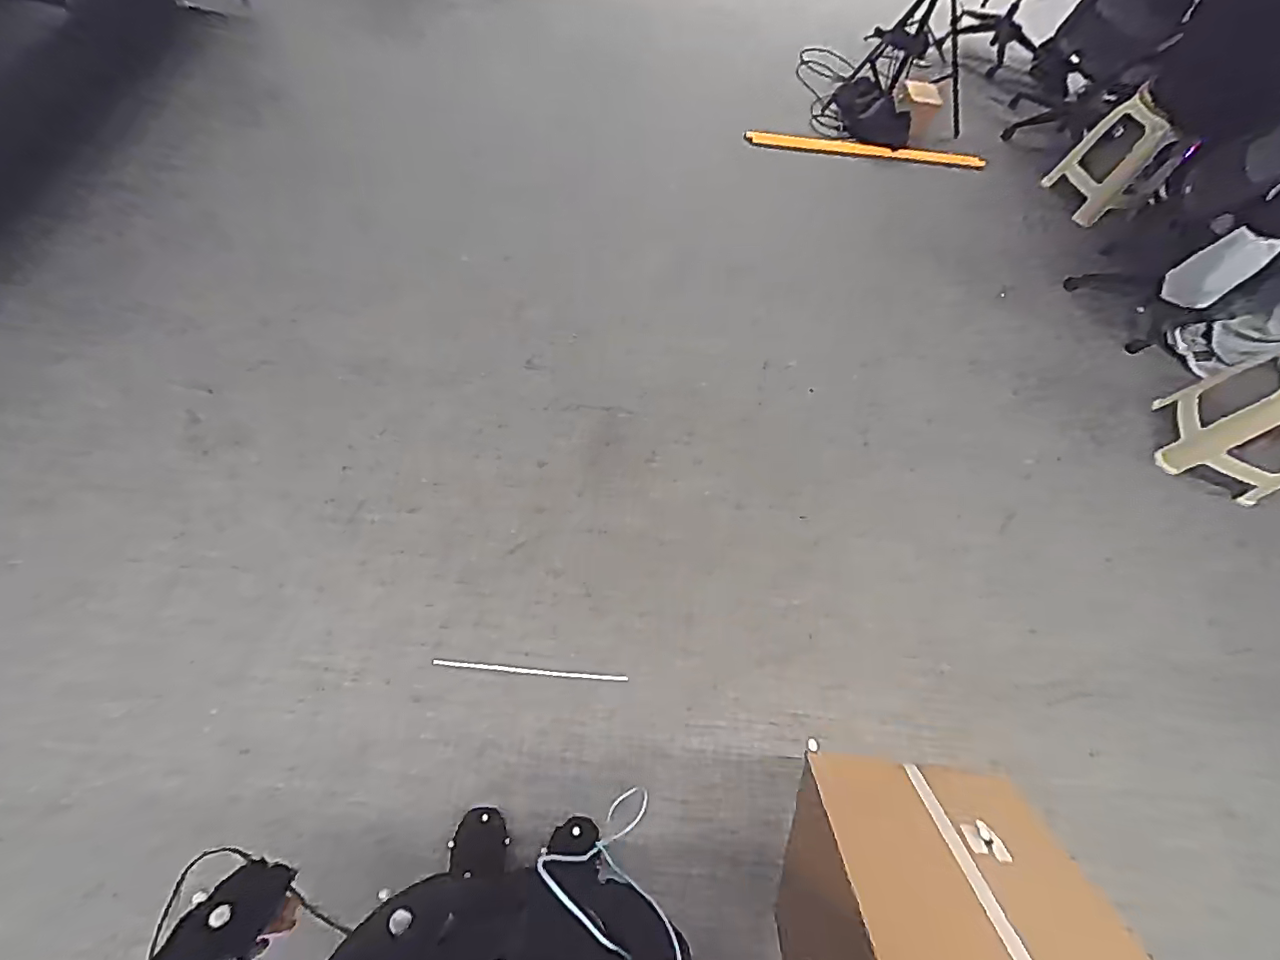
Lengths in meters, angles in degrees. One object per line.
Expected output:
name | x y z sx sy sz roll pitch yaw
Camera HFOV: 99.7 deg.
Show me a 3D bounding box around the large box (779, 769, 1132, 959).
large box | 0.388 0.657 0.682 0.320 0.408 0.320 9 102 2
